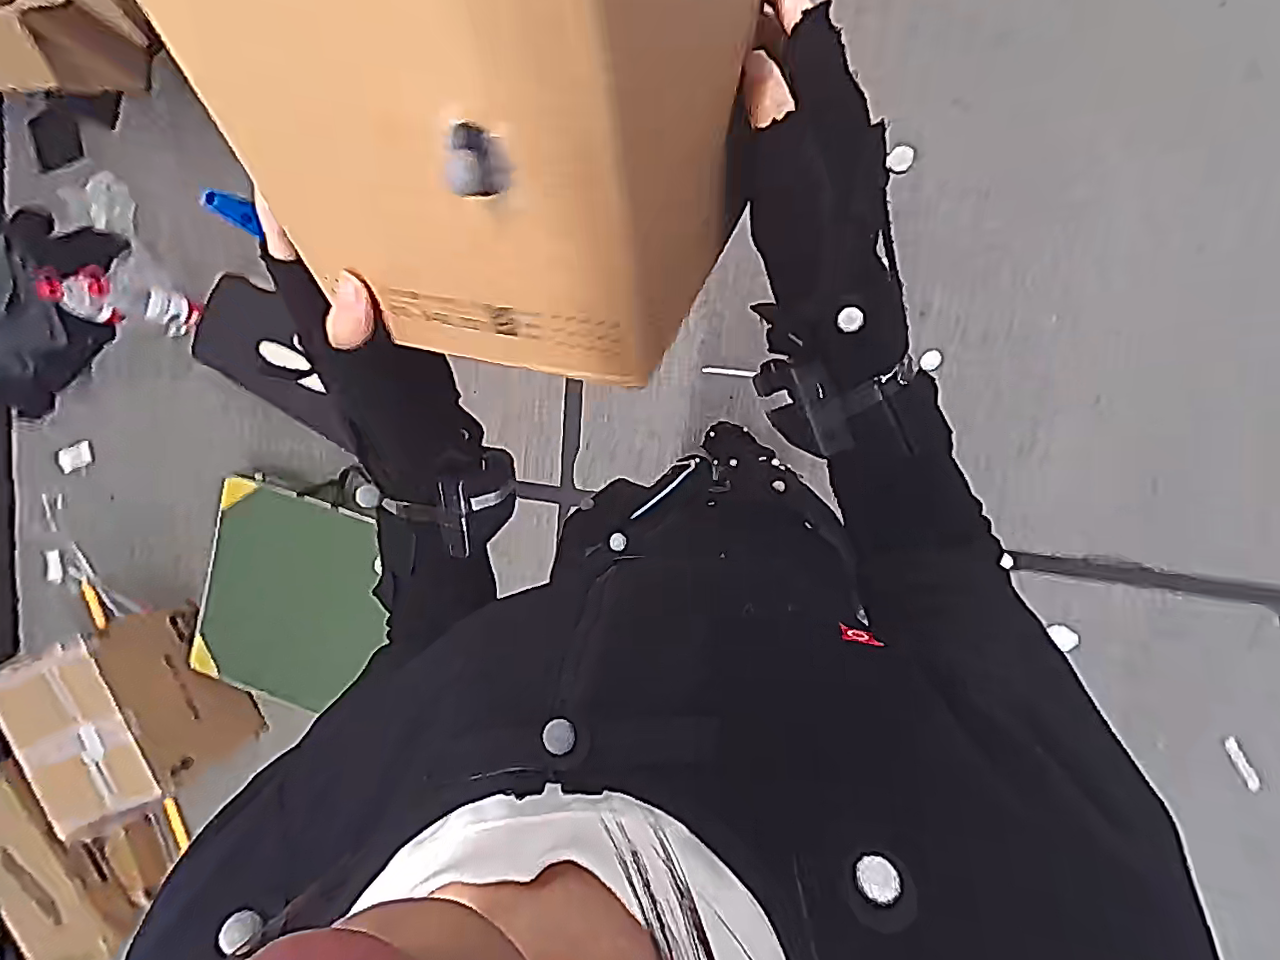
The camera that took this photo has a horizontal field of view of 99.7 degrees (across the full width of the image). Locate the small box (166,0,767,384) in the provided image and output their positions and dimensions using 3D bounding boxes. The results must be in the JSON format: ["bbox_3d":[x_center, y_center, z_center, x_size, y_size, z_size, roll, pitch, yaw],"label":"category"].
[{"bbox_3d":[-0.041,-0.166,0.240,0.168,0.176,0.179,14,54,17],"label":"small box"}]
